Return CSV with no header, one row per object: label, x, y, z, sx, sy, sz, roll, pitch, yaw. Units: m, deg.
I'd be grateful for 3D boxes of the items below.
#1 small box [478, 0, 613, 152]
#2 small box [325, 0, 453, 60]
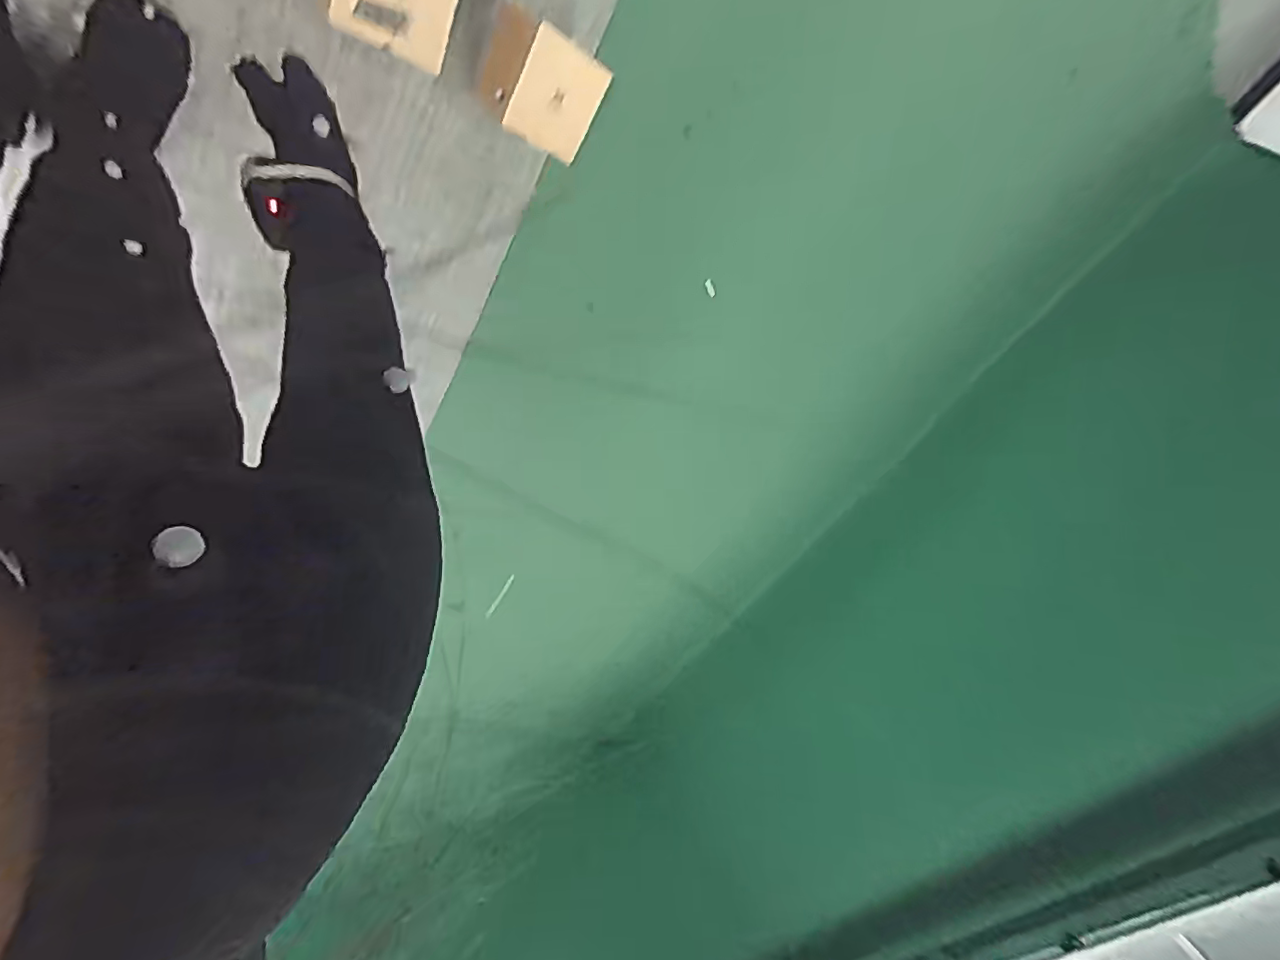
small box,-0.190,-0.785,1.040,0.168,0.176,0.179,4,132,-45
small box,-0.389,-0.802,0.826,0.168,0.176,0.179,-1,135,-43
